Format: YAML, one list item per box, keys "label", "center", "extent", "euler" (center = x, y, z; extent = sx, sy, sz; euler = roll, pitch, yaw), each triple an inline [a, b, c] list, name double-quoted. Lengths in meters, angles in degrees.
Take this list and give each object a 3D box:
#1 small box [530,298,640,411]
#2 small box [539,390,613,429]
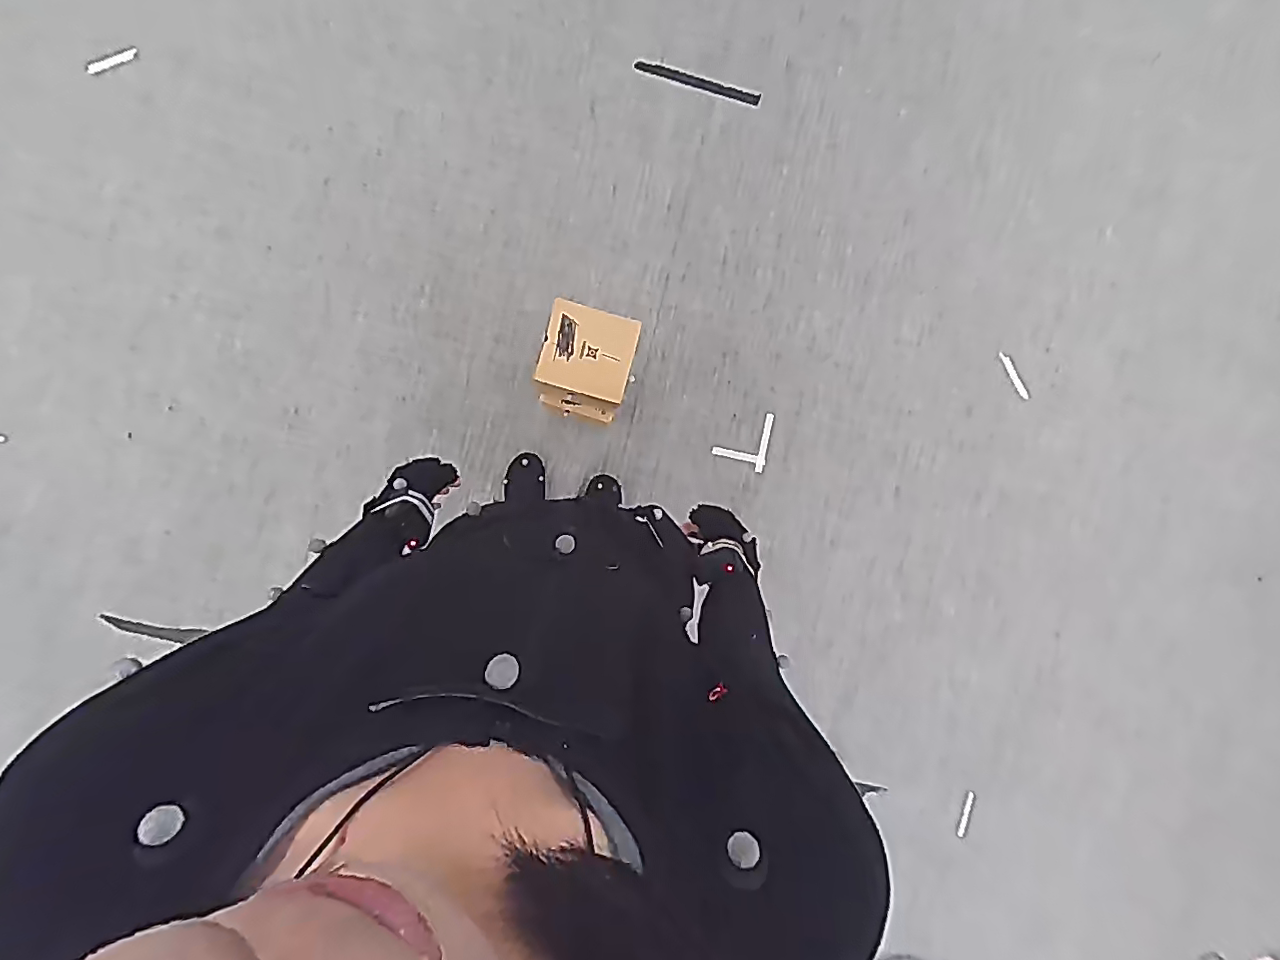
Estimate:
- label: "small box"
  center: [-0.112, -0.246, 1.110]
  extent: [0.179, 0.176, 0.168]
  euler: [16, 89, -6]
- label: "small box"
  center: [-0.131, -0.231, 1.274]
  extent: [0.168, 0.176, 0.179]
  euler: [18, 88, -5]
